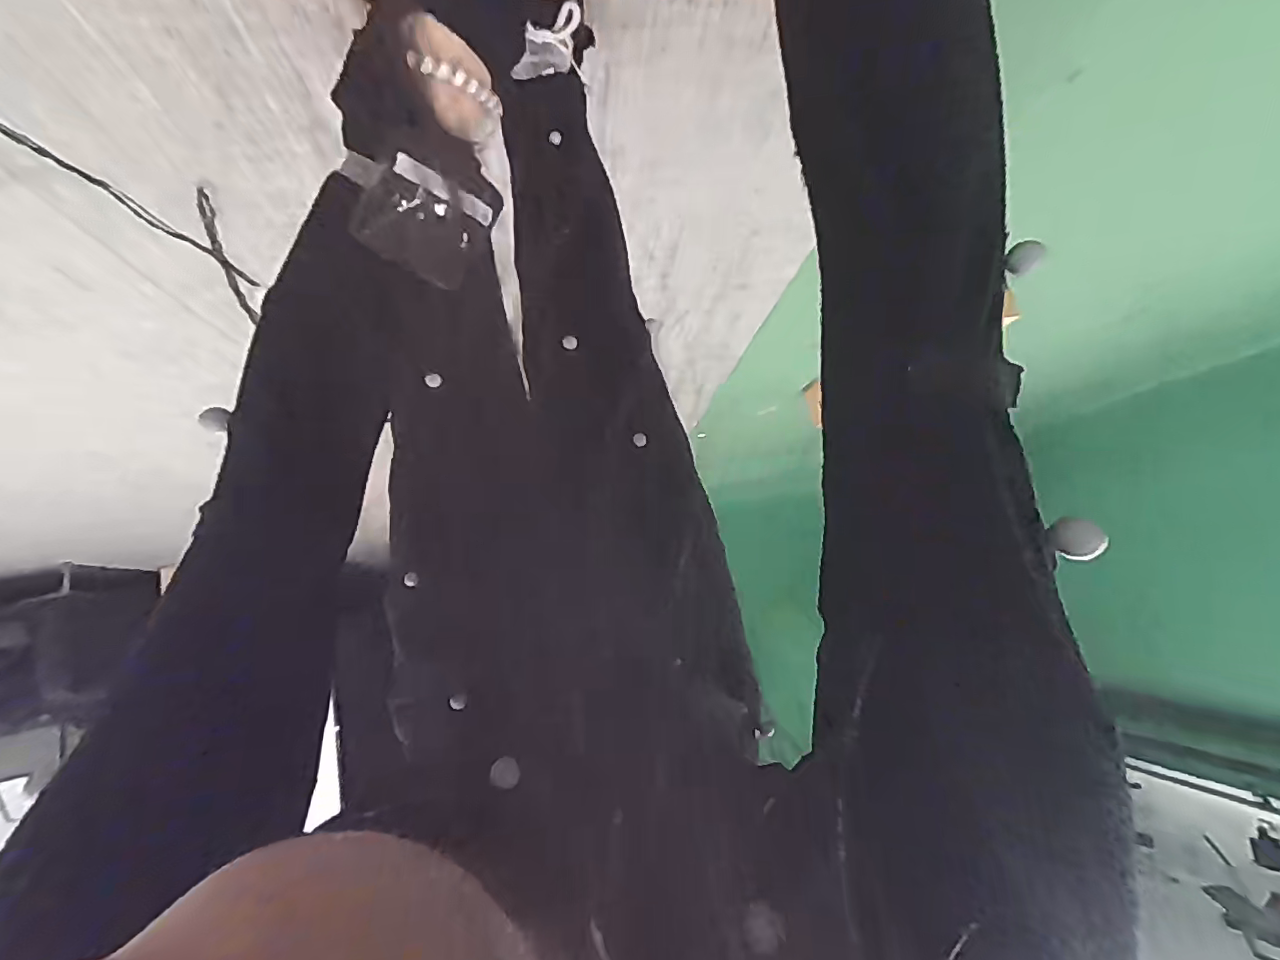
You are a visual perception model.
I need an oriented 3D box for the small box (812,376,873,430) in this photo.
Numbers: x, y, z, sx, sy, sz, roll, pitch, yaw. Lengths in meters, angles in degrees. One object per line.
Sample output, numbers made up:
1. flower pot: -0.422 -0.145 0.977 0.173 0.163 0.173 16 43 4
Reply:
1. small box: 0.838 -0.321 2.265 0.168 0.176 0.179 -9 168 -10
